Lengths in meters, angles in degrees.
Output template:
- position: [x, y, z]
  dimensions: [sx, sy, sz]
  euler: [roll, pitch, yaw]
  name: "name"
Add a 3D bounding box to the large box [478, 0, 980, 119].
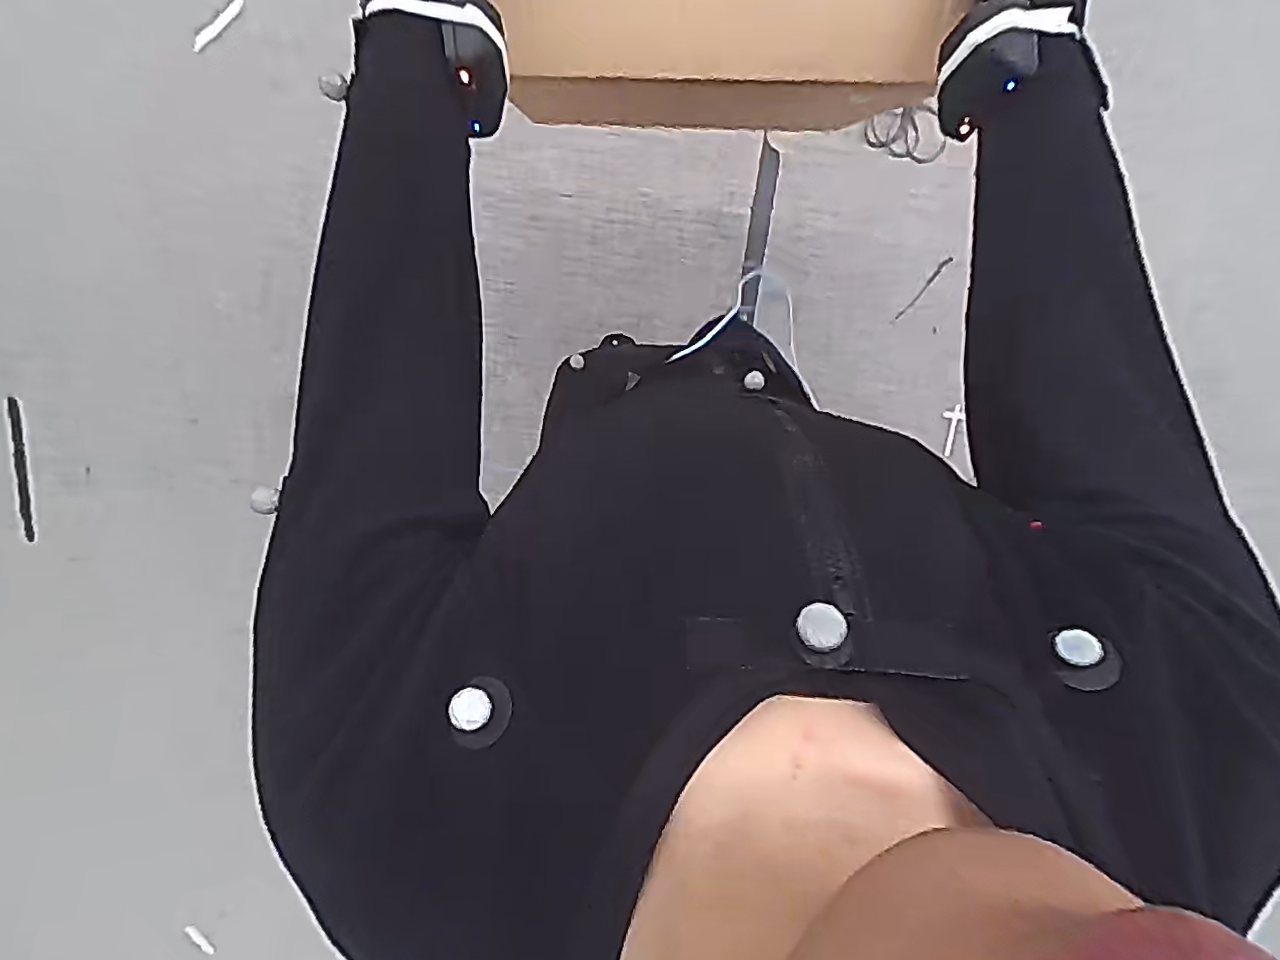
- position: [0.068, -0.542, 0.504]
  dimensions: [0.408, 0.320, 0.320]
  euler: [1, 118, -2]
  name: "large box"
